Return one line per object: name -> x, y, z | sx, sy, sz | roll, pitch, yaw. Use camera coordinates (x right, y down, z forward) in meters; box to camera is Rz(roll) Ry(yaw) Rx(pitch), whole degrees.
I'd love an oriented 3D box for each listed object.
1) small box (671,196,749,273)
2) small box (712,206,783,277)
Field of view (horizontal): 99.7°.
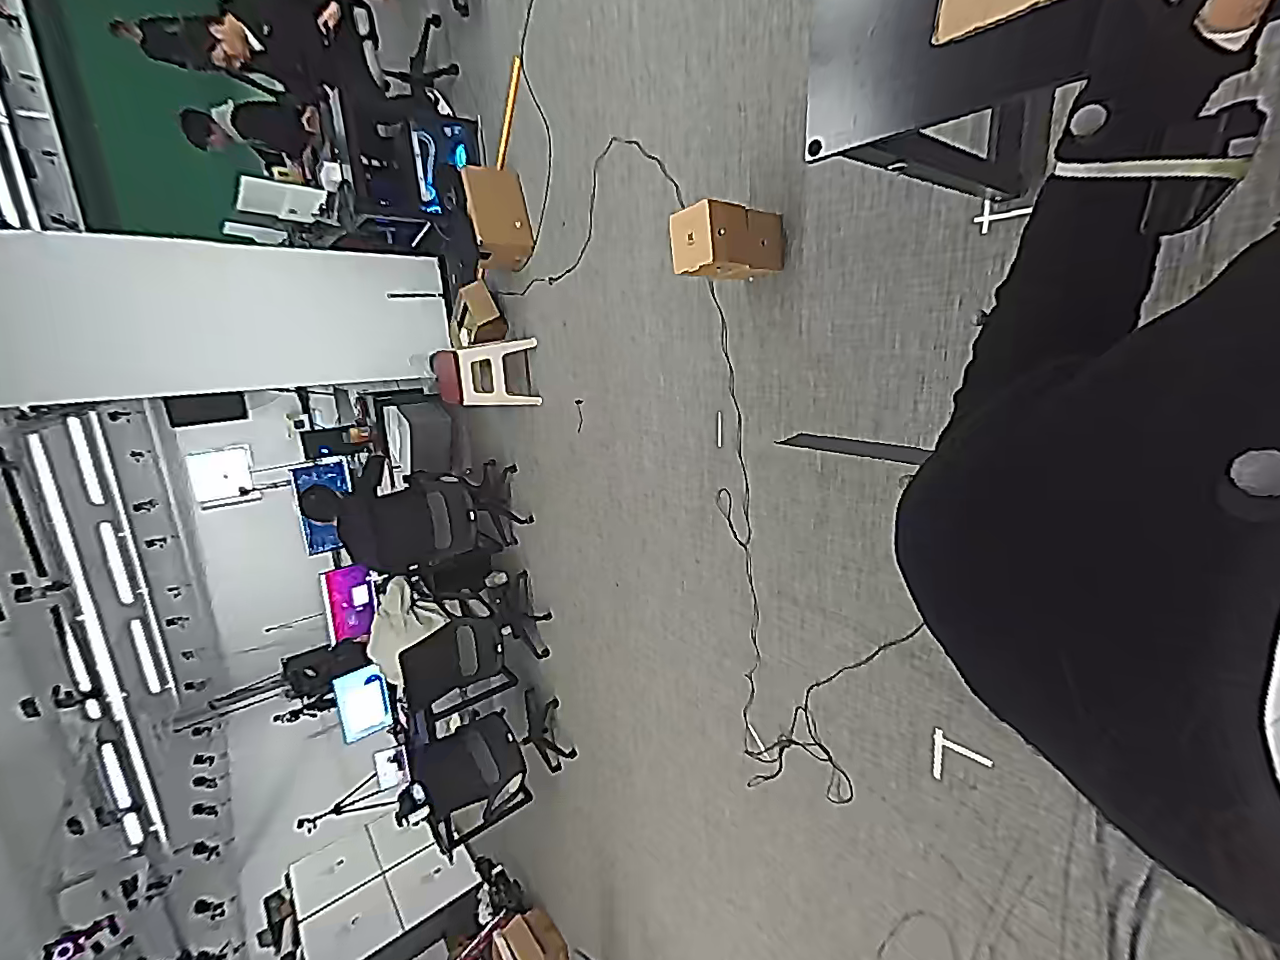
small box -> 0.216, -0.735, 1.640 | 0.168, 0.176, 0.179 | 5, 105, 51
small box -> 0.344, -0.759, 1.738 | 0.168, 0.176, 0.179 | 10, 109, 51
